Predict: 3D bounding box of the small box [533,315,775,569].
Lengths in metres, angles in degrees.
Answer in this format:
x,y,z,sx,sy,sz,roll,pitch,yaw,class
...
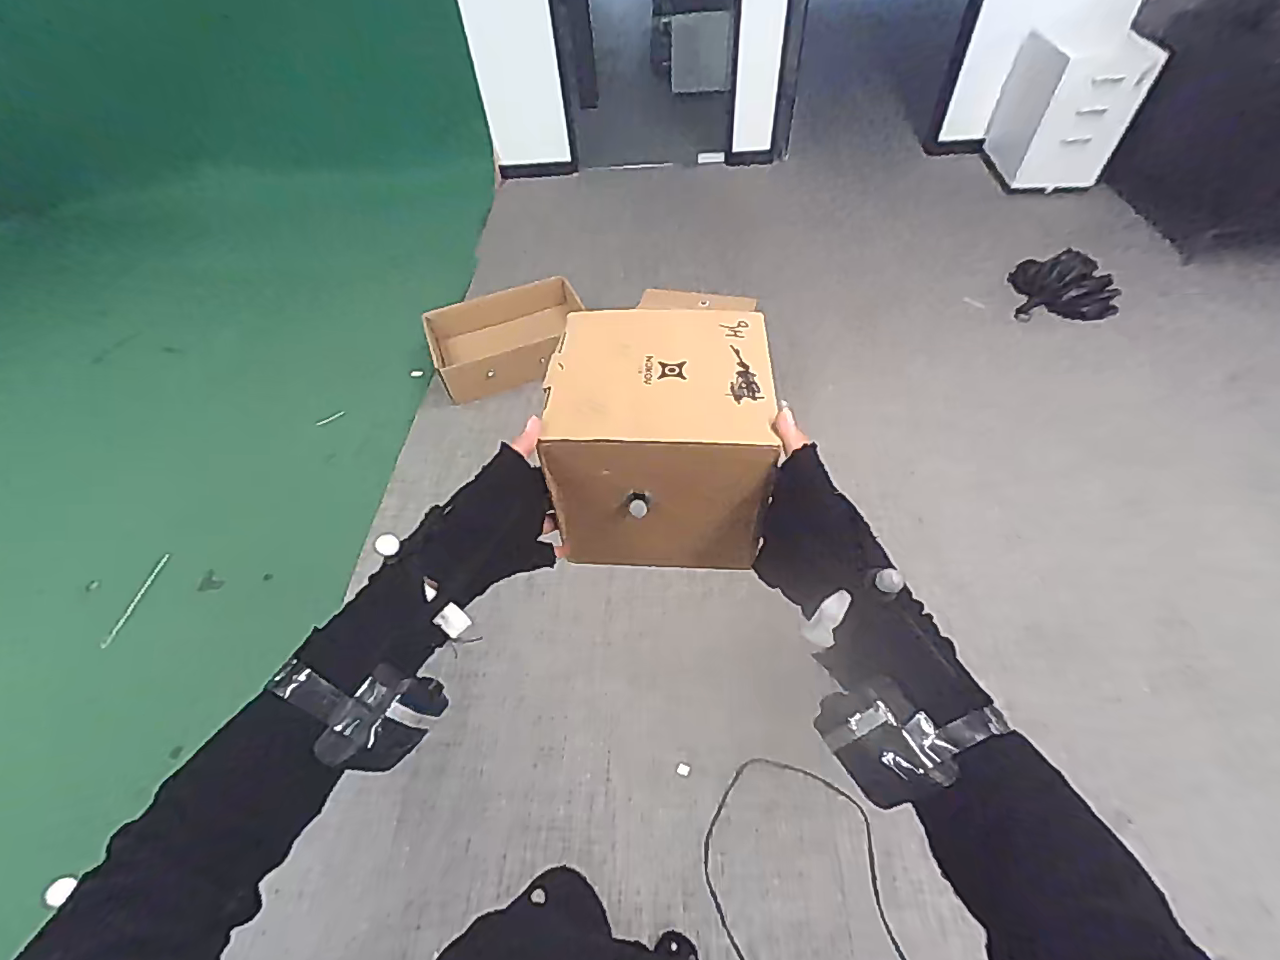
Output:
x,y,z,sx,sy,sz,roll,pitch,yaw,class
0.019,-0.031,0.493,0.179,0.176,0.168,1,50,5,small box
